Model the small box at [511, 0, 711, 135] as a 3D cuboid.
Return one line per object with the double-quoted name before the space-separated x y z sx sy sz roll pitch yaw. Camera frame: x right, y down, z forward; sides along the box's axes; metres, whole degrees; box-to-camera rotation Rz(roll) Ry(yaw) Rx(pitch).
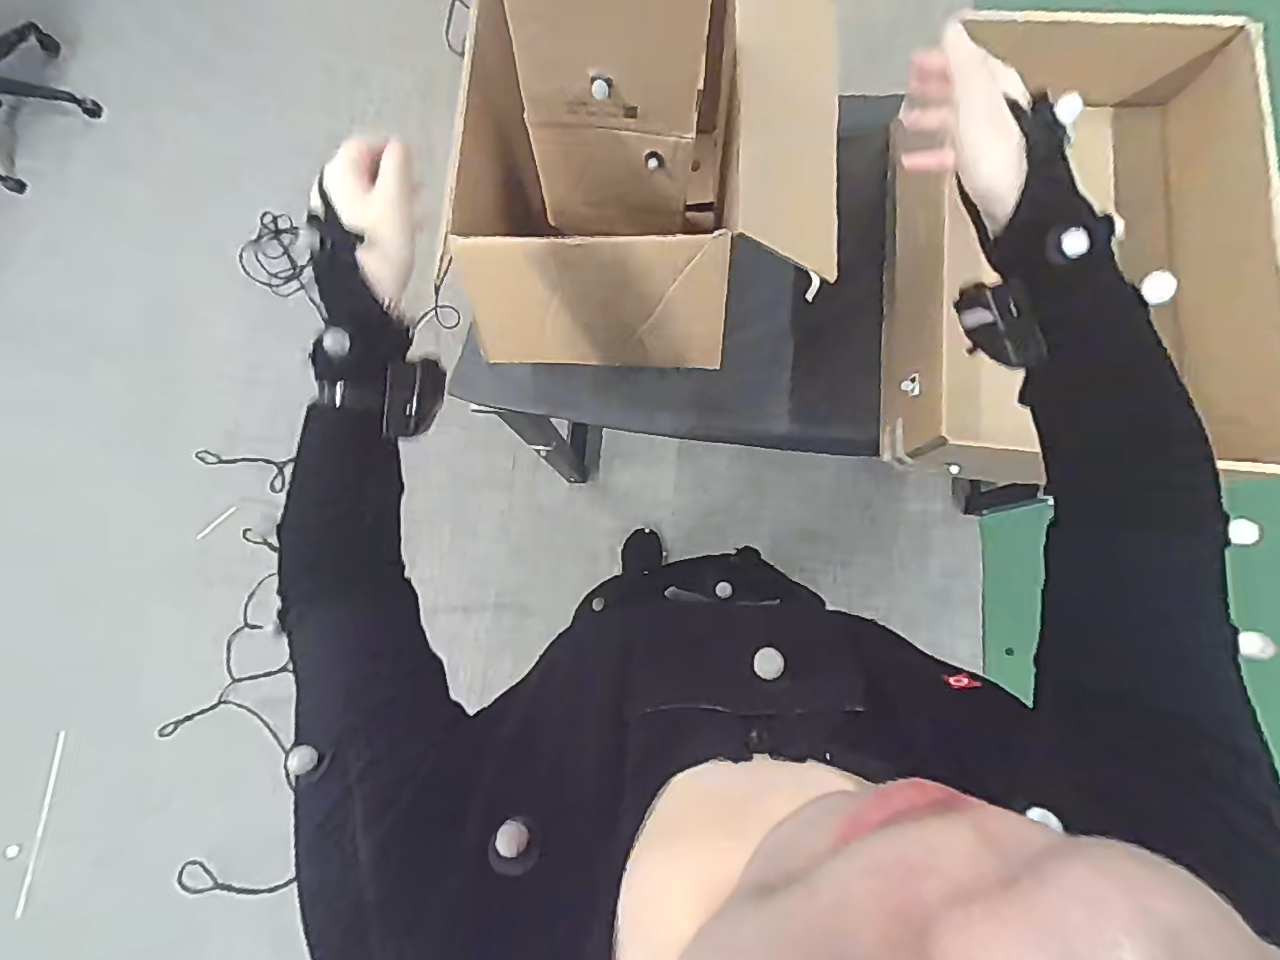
"small box" -0.022 -0.452 0.479 0.168 0.176 0.179 4 79 -1
